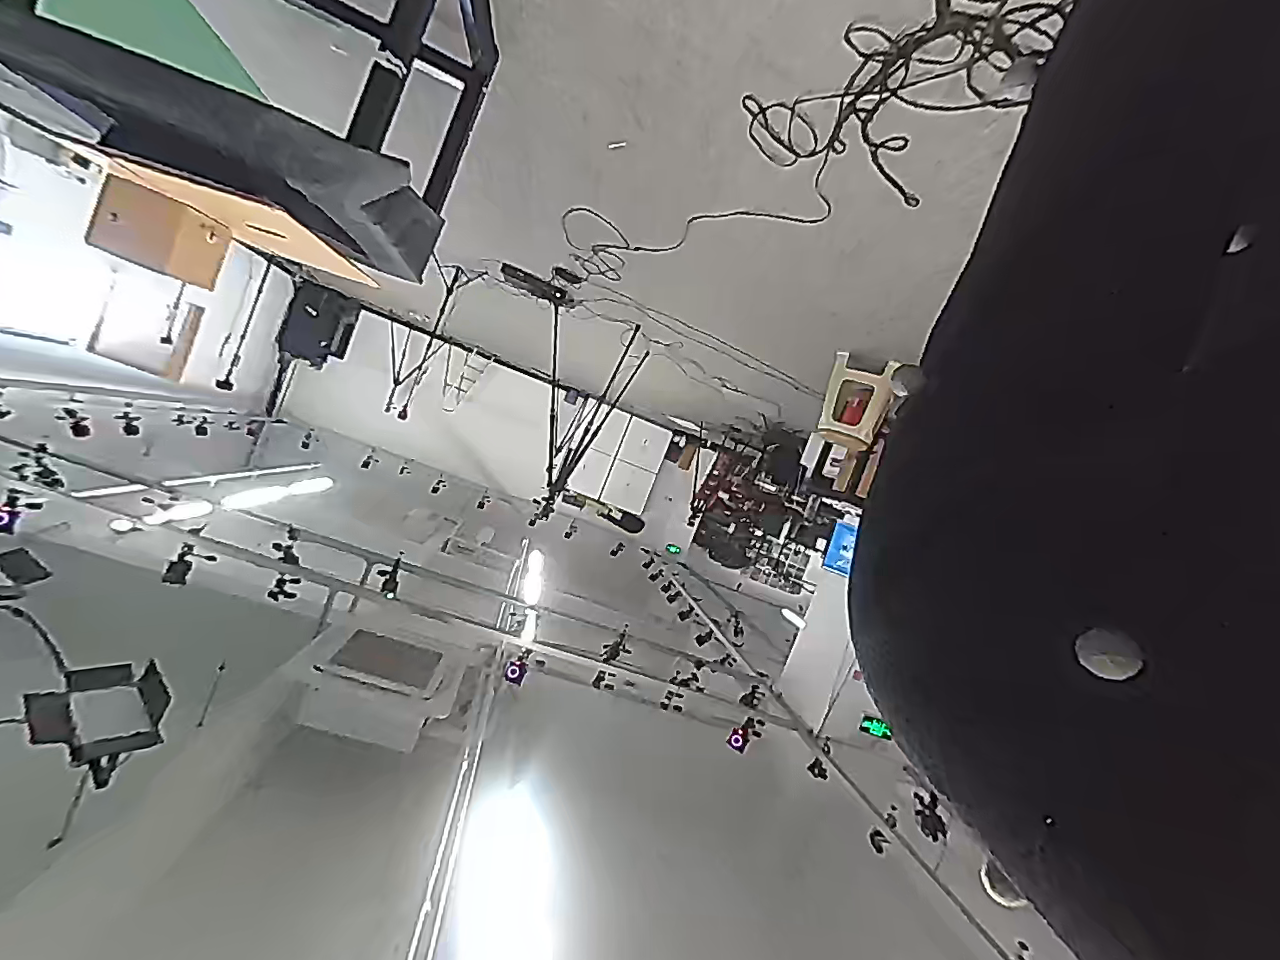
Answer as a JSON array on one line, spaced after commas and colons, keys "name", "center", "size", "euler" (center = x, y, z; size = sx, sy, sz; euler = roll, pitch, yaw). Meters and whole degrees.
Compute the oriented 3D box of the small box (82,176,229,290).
[{"name": "small box", "center": [-1.119, -0.575, 1.264], "size": [0.179, 0.176, 0.168], "euler": [21, -176, -8]}]
